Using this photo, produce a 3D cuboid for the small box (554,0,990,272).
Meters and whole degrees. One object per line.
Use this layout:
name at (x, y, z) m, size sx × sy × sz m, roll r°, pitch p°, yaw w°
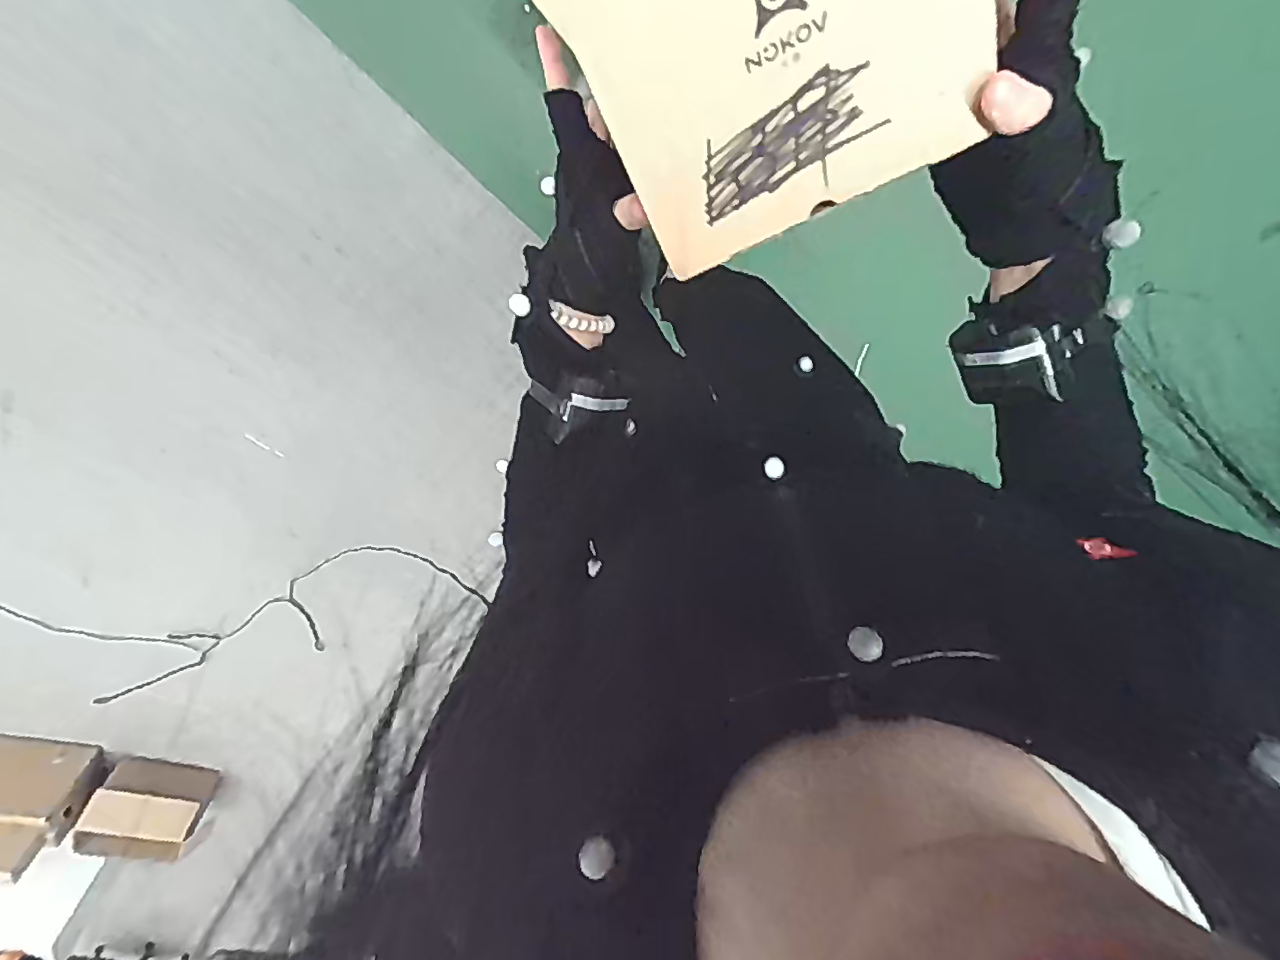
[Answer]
small box at (0.057, -0.250, 0.284) m, size 0.168 × 0.176 × 0.179 m, roll -19°, pitch 131°, yaw 17°
